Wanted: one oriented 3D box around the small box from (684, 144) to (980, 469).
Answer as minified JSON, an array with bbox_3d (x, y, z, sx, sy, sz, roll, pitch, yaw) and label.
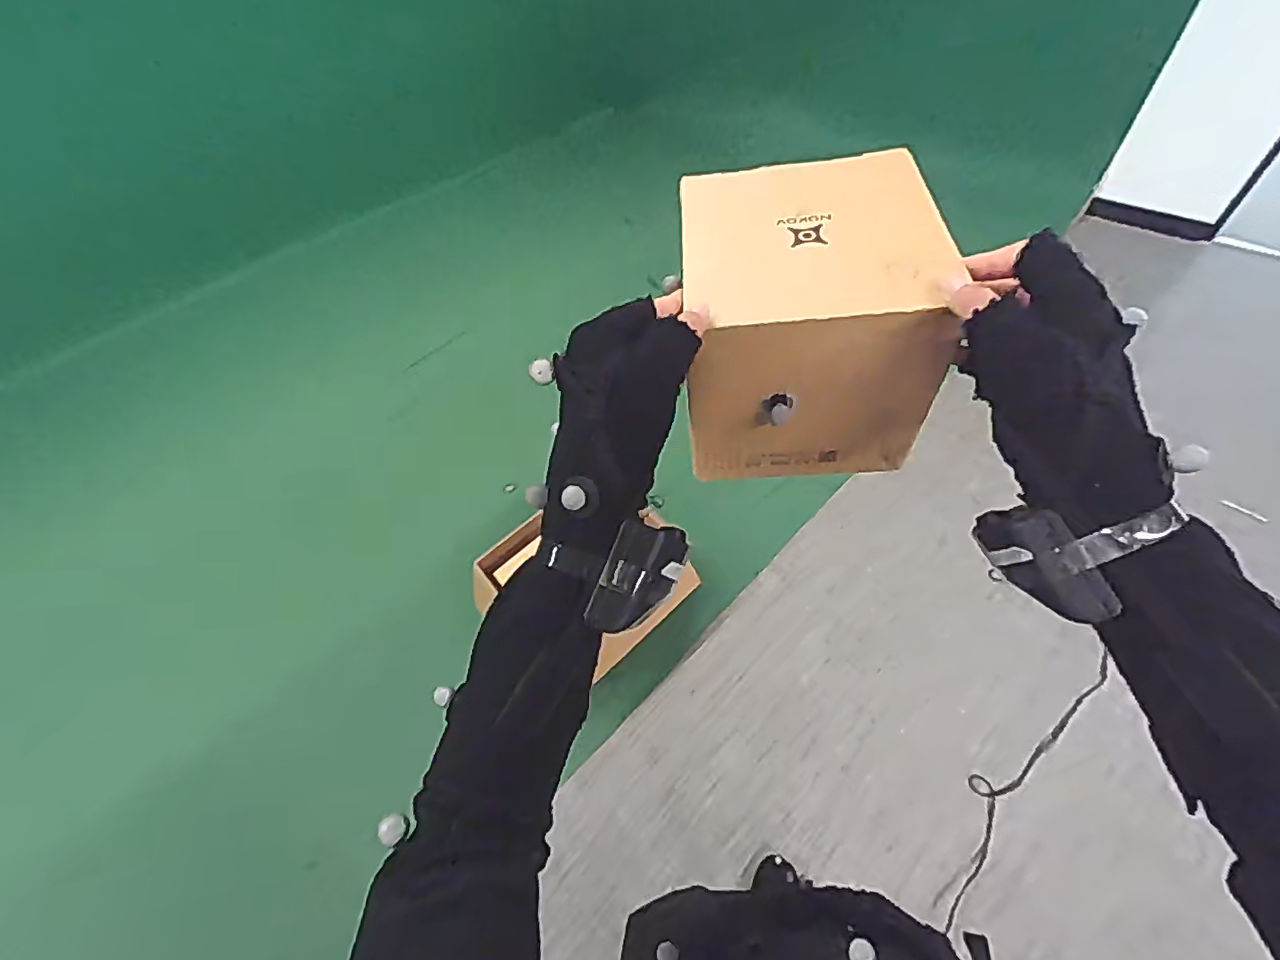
[{"bbox_3d":[0.124,-0.119,0.418,0.168,0.176,0.179,-3,56,8],"label":"small box"}]
